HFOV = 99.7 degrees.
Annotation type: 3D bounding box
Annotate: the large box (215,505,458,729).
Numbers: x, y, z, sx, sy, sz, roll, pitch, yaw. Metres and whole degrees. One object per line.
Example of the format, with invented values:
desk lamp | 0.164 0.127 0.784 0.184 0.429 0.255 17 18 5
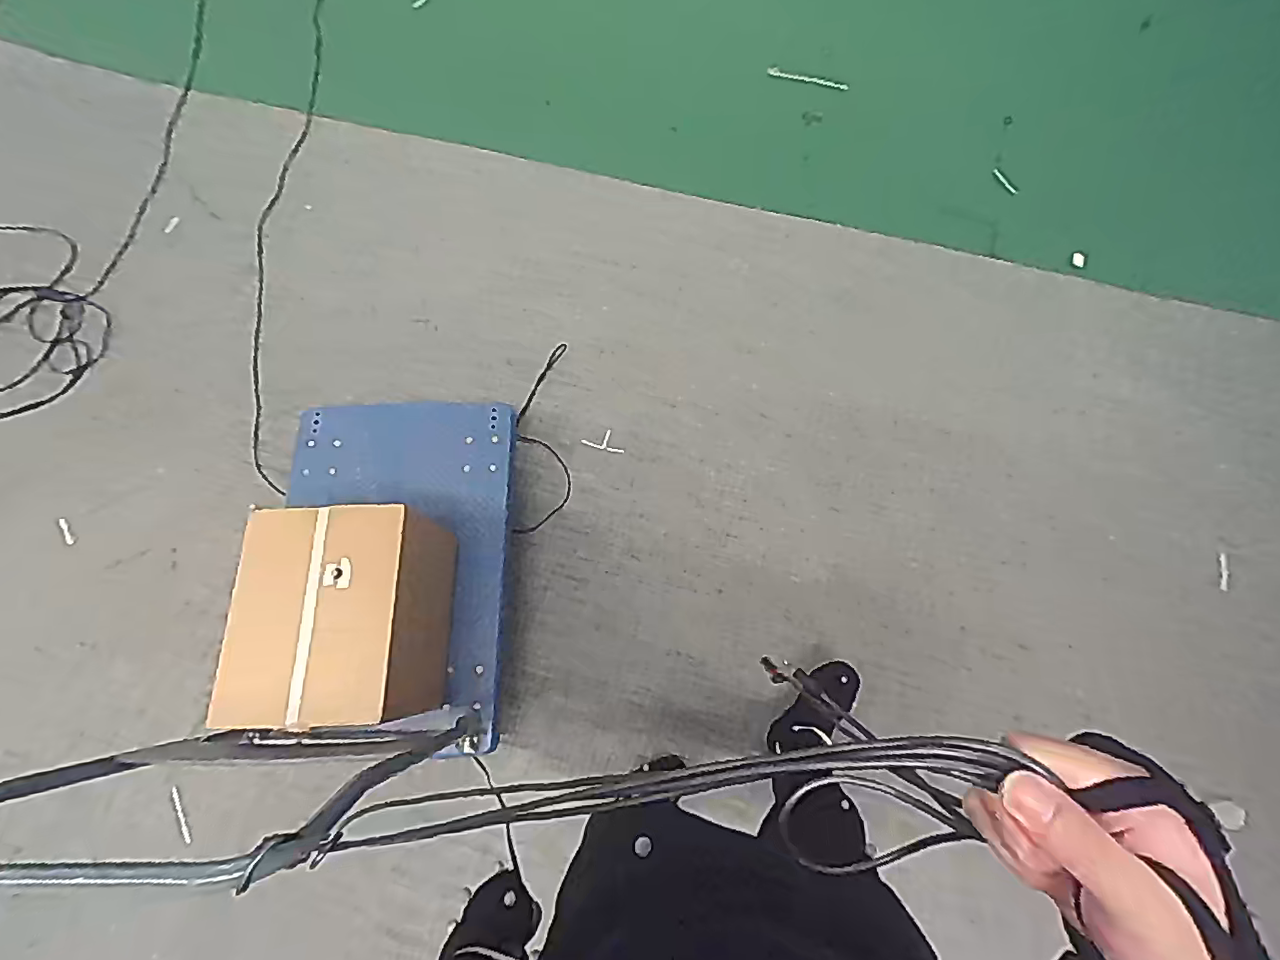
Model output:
large box | -0.601 0.294 1.152 0.320 0.320 0.408 -2 70 0
